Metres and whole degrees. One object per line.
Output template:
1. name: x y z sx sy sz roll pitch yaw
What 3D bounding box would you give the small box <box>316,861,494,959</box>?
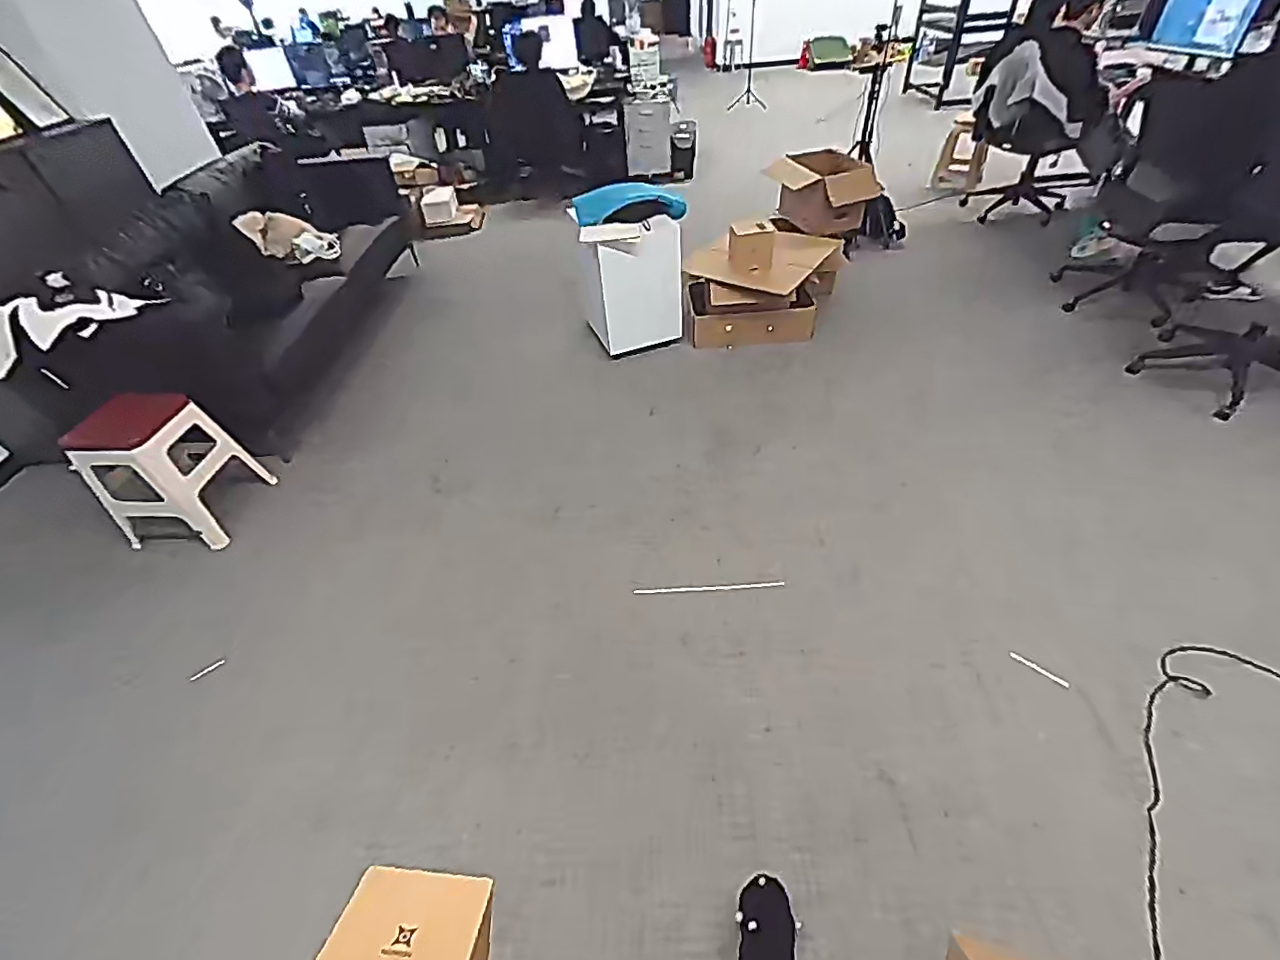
1. small box: -0.286 0.611 0.648 0.168 0.176 0.179 7 12 -1
